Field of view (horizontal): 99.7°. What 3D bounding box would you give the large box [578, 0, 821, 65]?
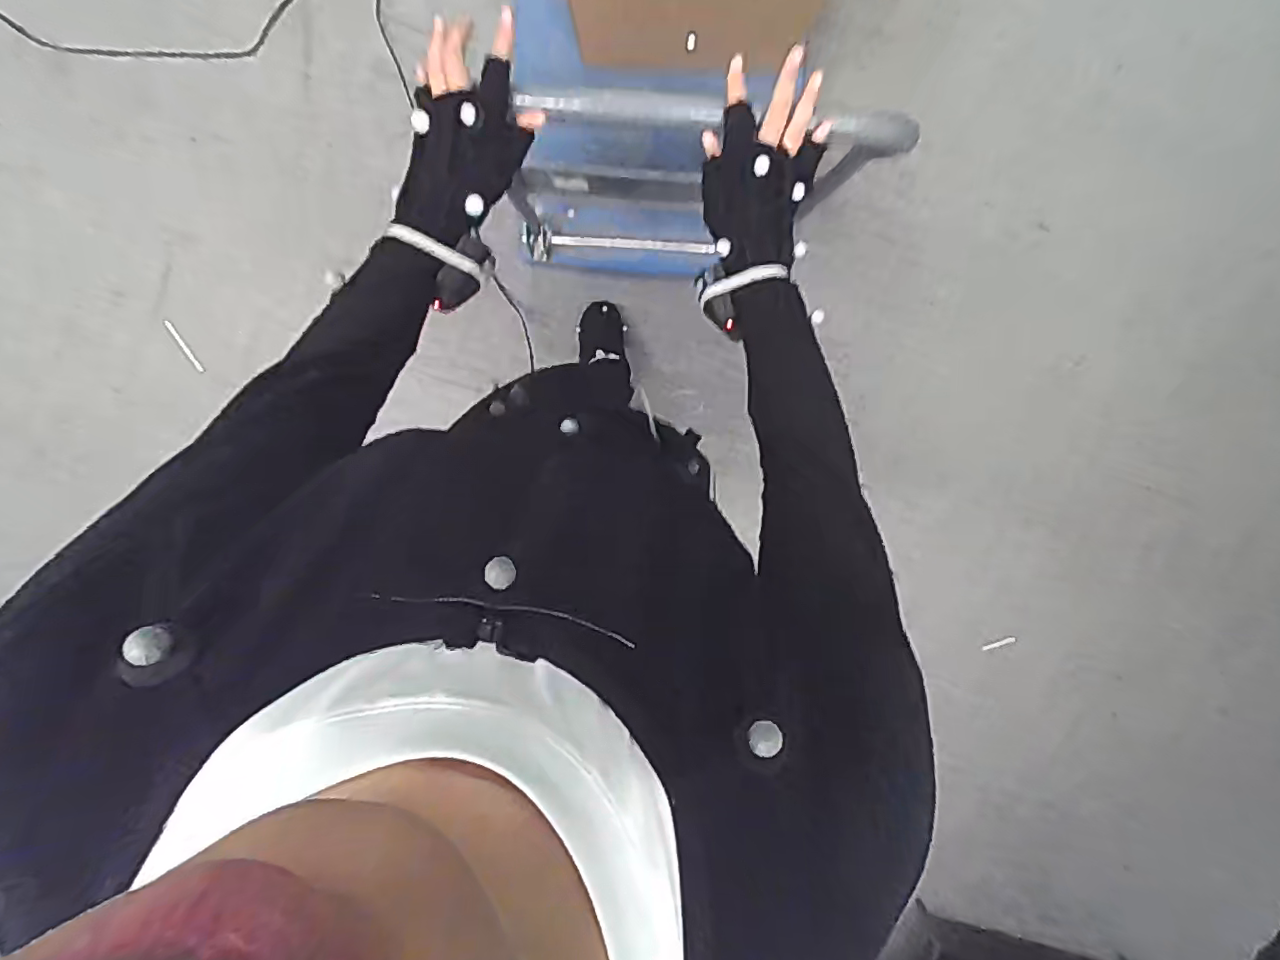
[{"bbox_3d":[0.098,-0.938,0.898,0.408,0.320,0.320,0,105,1],"label":"large box"}]
